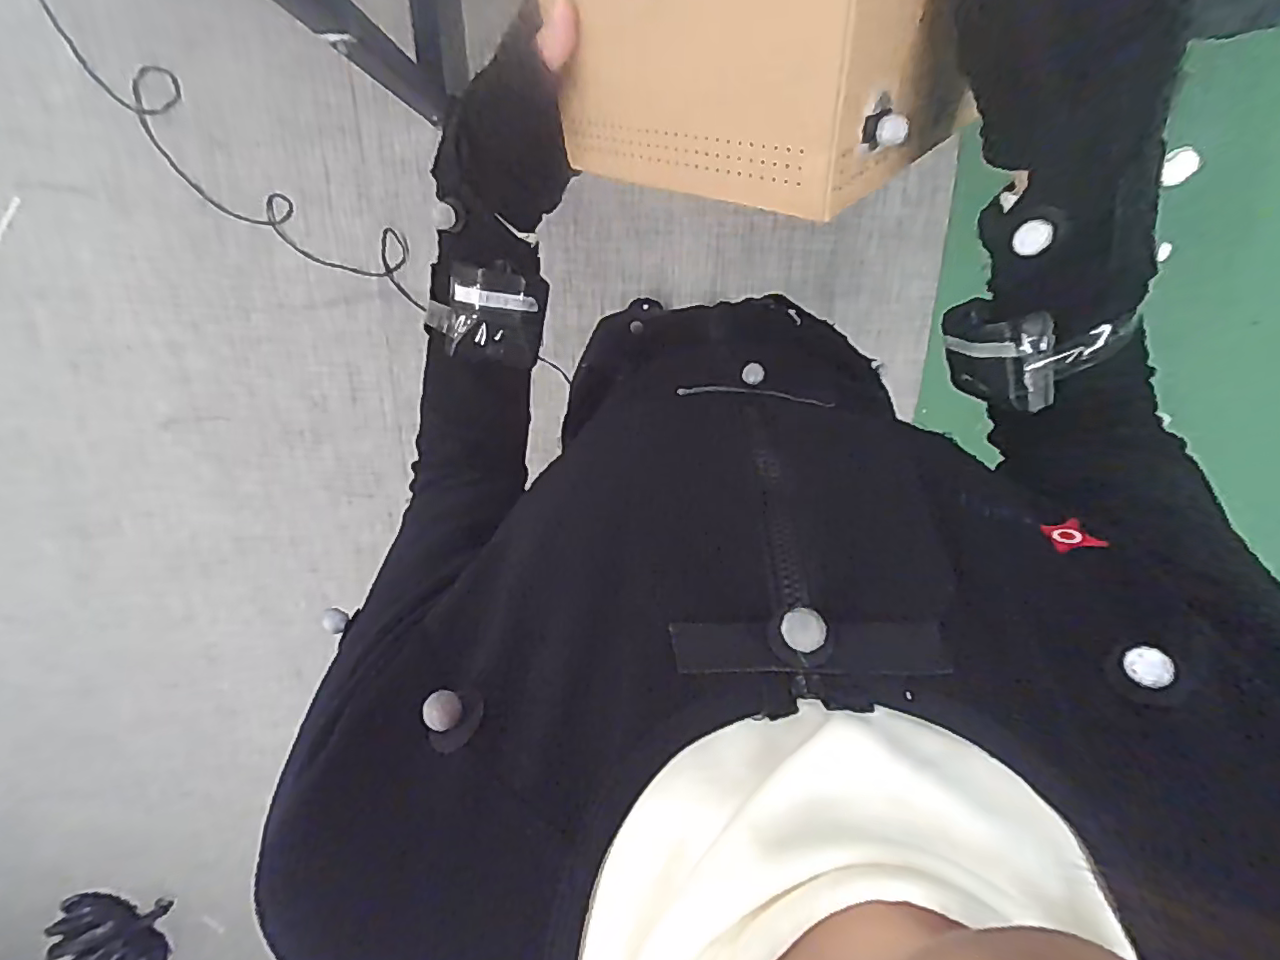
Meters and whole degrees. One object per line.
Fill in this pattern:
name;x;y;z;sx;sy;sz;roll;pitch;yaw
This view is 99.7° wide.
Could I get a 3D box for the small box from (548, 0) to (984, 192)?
small box;0.066;-0.266;0.273;0.179;0.168;0.176;31;148;32
